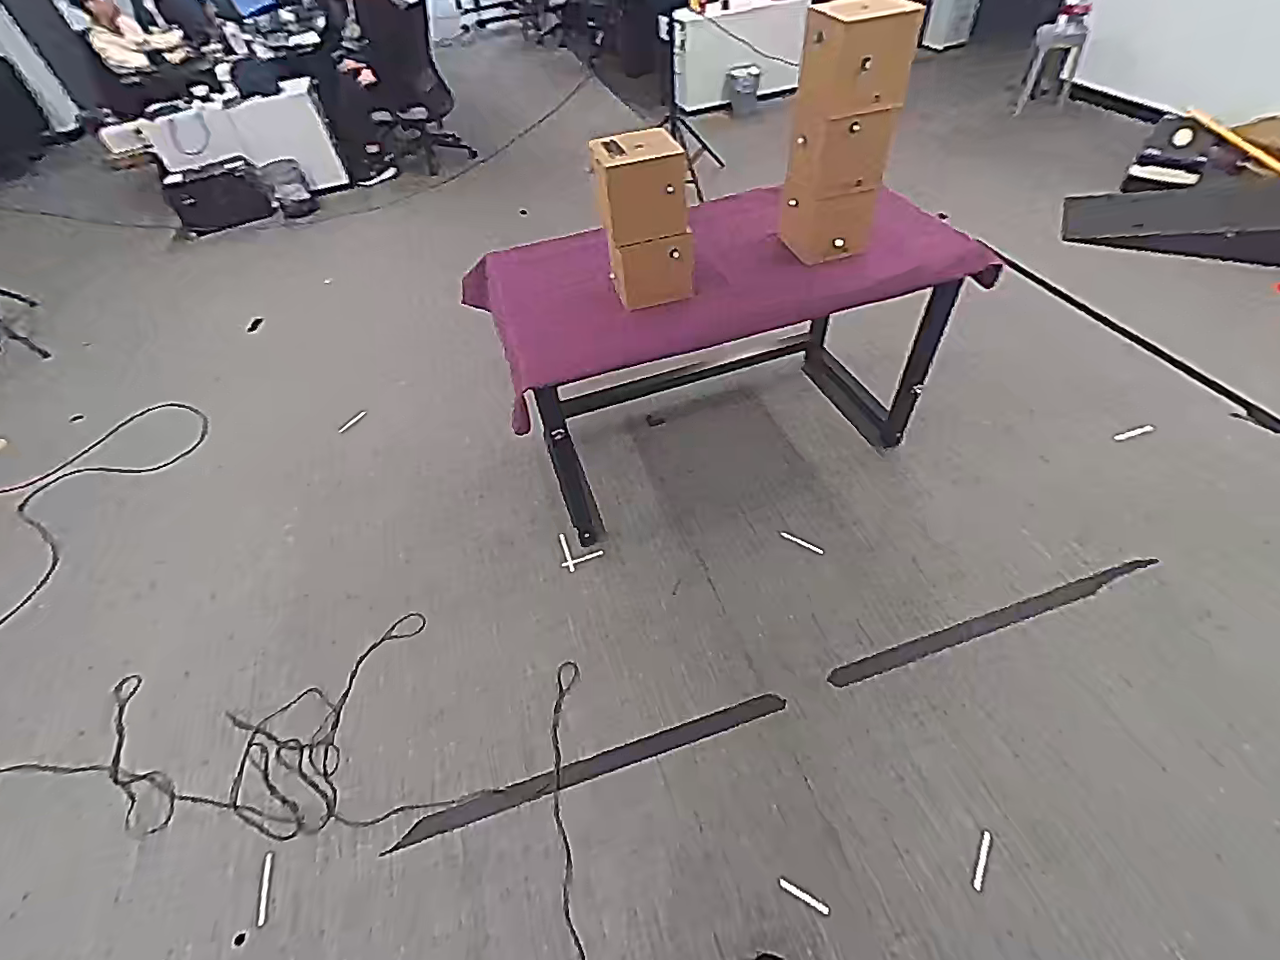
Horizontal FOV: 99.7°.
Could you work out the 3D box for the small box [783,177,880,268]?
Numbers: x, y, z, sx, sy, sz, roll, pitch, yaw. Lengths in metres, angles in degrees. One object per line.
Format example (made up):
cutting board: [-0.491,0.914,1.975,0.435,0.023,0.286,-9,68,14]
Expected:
small box: [0.483,-0.677,1.397,0.168,0.176,0.179,-15,50,-6]

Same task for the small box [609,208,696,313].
small box: [0.031,-0.538,1.332,0.179,0.176,0.168,-15,49,-5]

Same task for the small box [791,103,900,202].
small box: [0.469,-0.779,1.270,0.168,0.176,0.179,-14,49,-4]

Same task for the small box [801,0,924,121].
small box: [0.457,-0.879,1.141,0.168,0.176,0.179,-14,49,-4]
